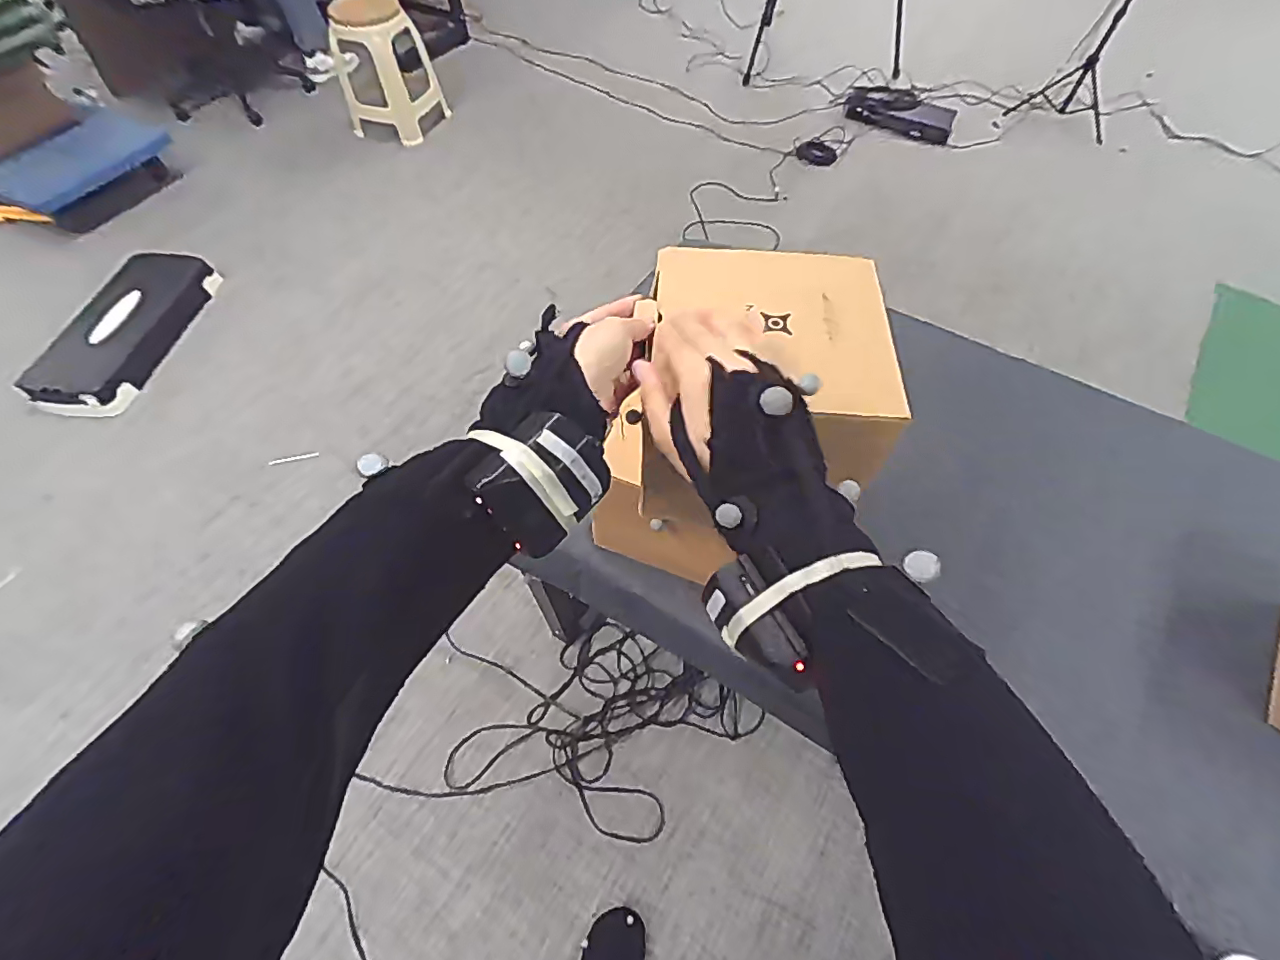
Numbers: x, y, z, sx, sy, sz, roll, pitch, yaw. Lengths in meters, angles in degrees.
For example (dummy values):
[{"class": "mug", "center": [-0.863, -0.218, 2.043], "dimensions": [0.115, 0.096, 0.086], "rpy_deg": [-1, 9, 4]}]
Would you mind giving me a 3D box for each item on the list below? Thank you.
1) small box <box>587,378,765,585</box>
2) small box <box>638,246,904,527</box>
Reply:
[{"class": "small box", "center": [0.058, -0.001, 0.608], "dimensions": [0.179, 0.176, 0.168], "rpy_deg": [20, 59, 12]}, {"class": "small box", "center": [0.091, -0.071, 0.460], "dimensions": [0.179, 0.176, 0.168], "rpy_deg": [5, 58, 1]}]
